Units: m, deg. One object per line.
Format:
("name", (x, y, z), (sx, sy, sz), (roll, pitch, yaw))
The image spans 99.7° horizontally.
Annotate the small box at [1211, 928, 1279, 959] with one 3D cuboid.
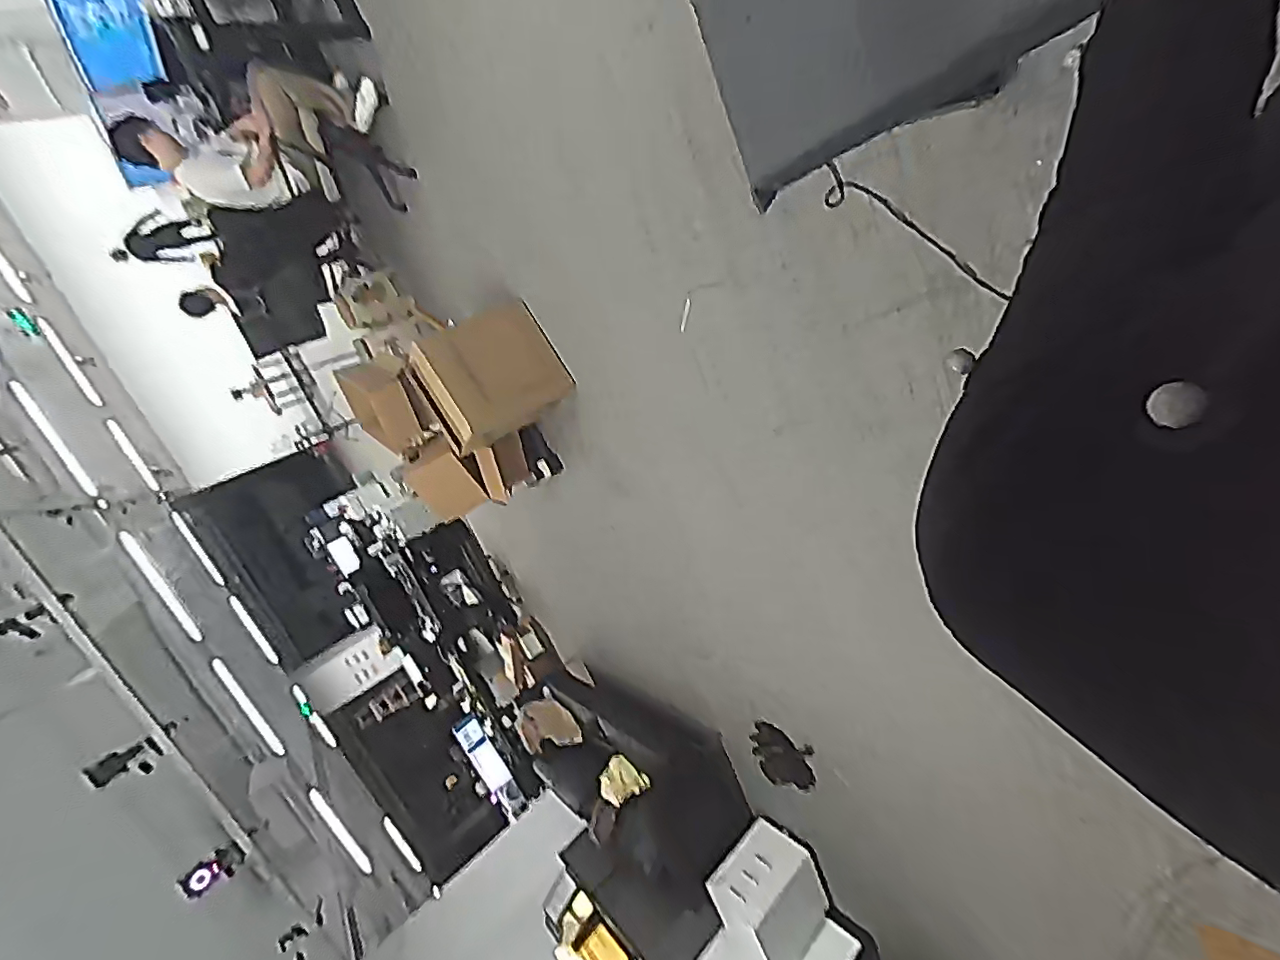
("small box", (1.744, 1.419, 1.515), (0.179, 0.176, 0.168), (-1, 116, 56))
